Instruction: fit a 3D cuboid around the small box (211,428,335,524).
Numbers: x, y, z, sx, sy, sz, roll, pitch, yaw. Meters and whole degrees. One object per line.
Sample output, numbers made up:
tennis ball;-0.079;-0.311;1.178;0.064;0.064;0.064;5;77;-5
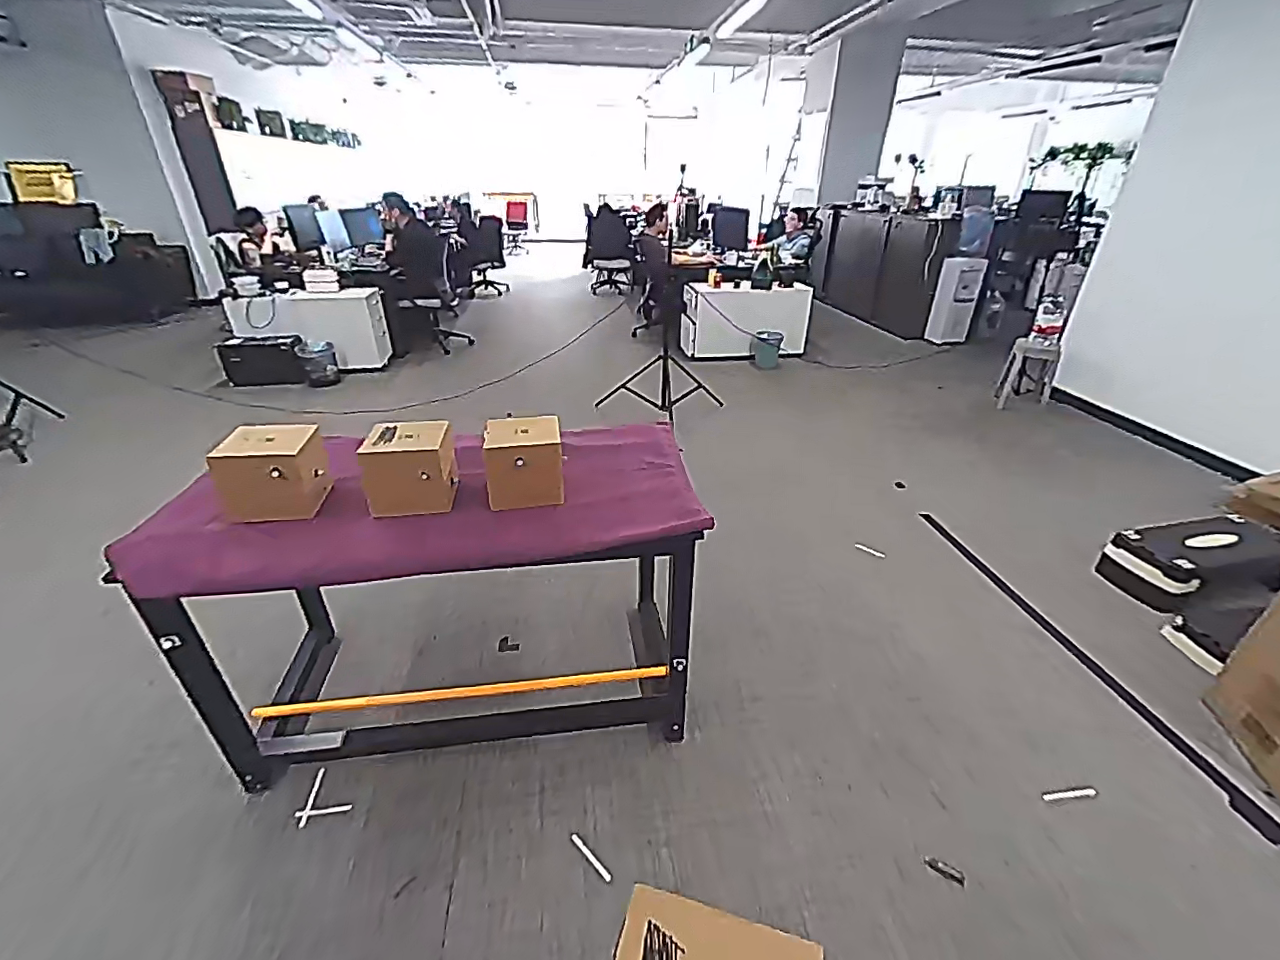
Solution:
small box;-0.840;-0.011;1.262;0.179;0.176;0.168;-3;28;-11

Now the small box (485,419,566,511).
small box;-0.275;-0.038;1.330;0.179;0.176;0.168;-5;29;-9

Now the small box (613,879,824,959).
small box;0.055;0.499;0.462;0.179;0.176;0.168;8;27;15
